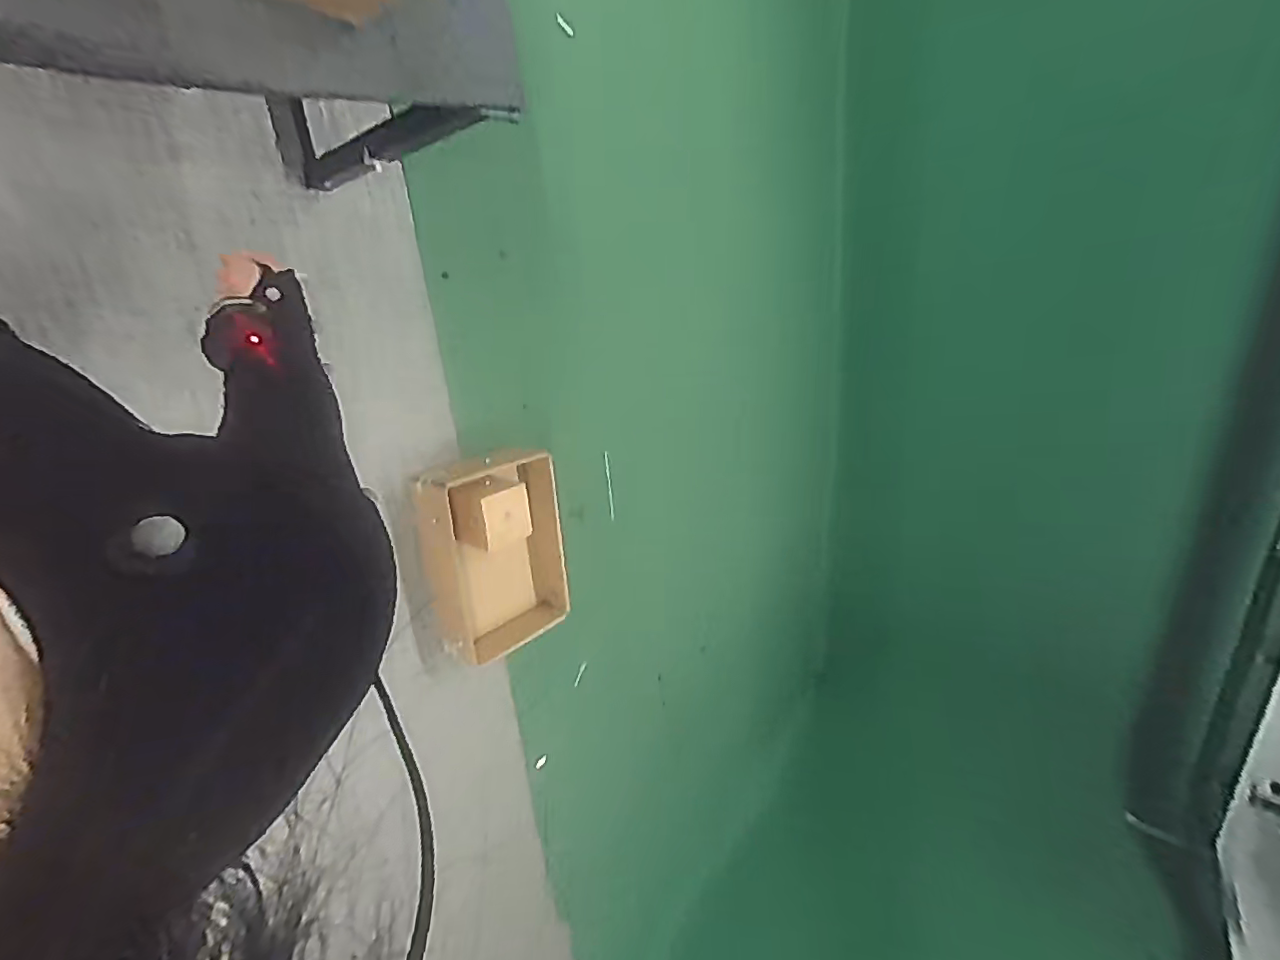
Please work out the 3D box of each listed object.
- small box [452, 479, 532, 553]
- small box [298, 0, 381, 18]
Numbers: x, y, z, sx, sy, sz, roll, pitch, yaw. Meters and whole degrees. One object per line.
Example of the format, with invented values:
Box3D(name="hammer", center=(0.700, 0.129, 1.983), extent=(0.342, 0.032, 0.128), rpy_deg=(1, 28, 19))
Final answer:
Box3D(name="small box", center=(-0.462, 0.102, 1.677), extent=(0.168, 0.176, 0.179), rpy_deg=(-23, 117, -45))
Box3D(name="small box", center=(-0.345, -0.618, 0.547), extent=(0.179, 0.176, 0.168), rpy_deg=(-22, 115, -48))
